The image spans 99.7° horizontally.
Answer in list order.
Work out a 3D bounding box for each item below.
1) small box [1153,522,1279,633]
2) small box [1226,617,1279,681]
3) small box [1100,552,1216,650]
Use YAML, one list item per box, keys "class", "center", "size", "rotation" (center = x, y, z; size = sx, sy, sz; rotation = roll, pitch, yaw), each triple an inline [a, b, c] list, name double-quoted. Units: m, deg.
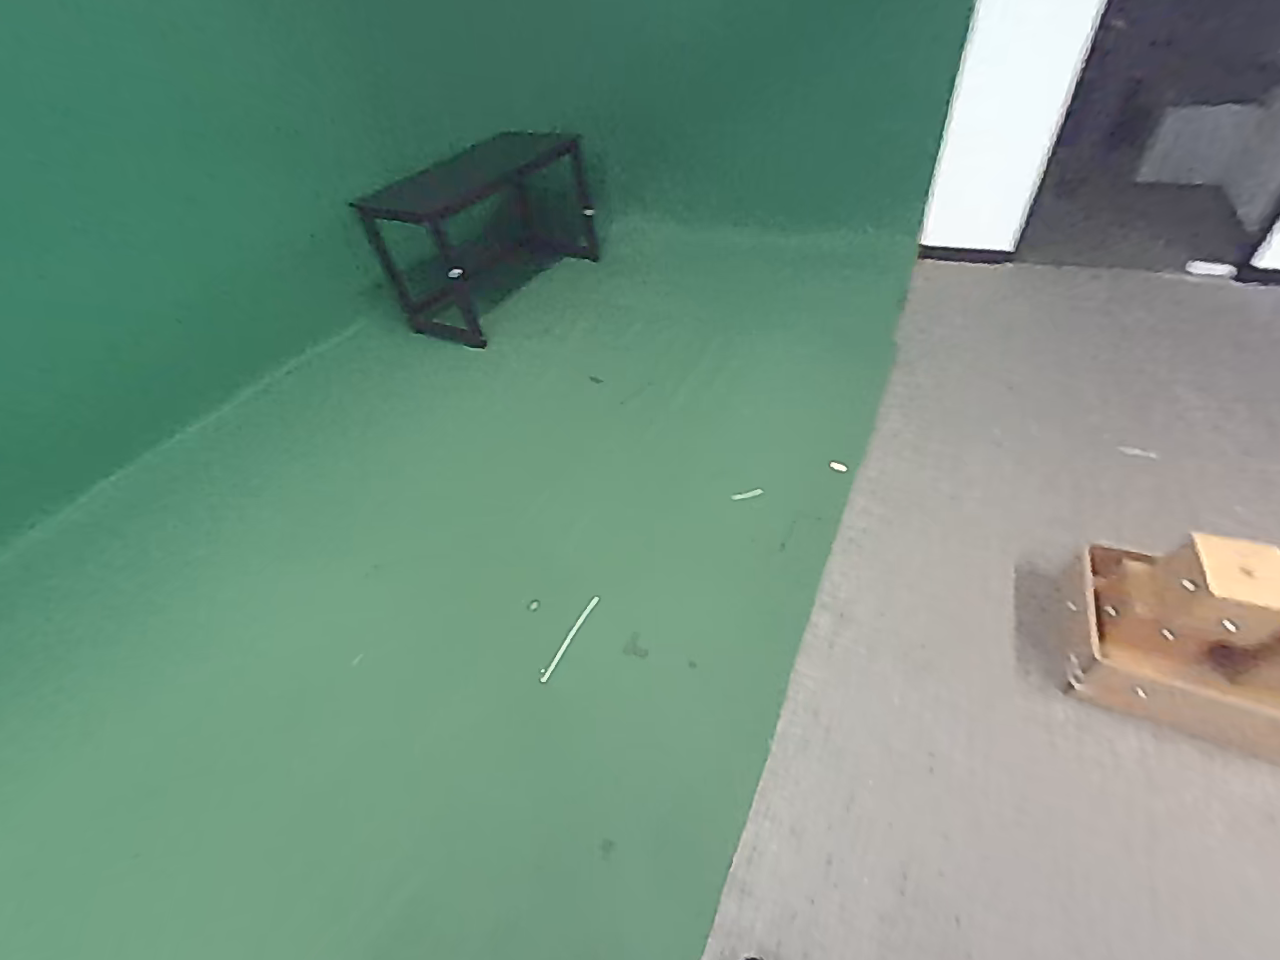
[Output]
- class: "small box"
  center: [1.344, 0.227, 1.244]
  size: [0.168, 0.176, 0.179]
  rotation: [11, 51, 17]
- class: "small box"
  center: [1.562, 0.376, 1.285]
  size: [0.179, 0.176, 0.168]
  rotation: [8, 49, 19]
- class: "small box"
  center: [1.328, 0.314, 1.391]
  size: [0.179, 0.176, 0.168]
  rotation: [12, 51, 19]
